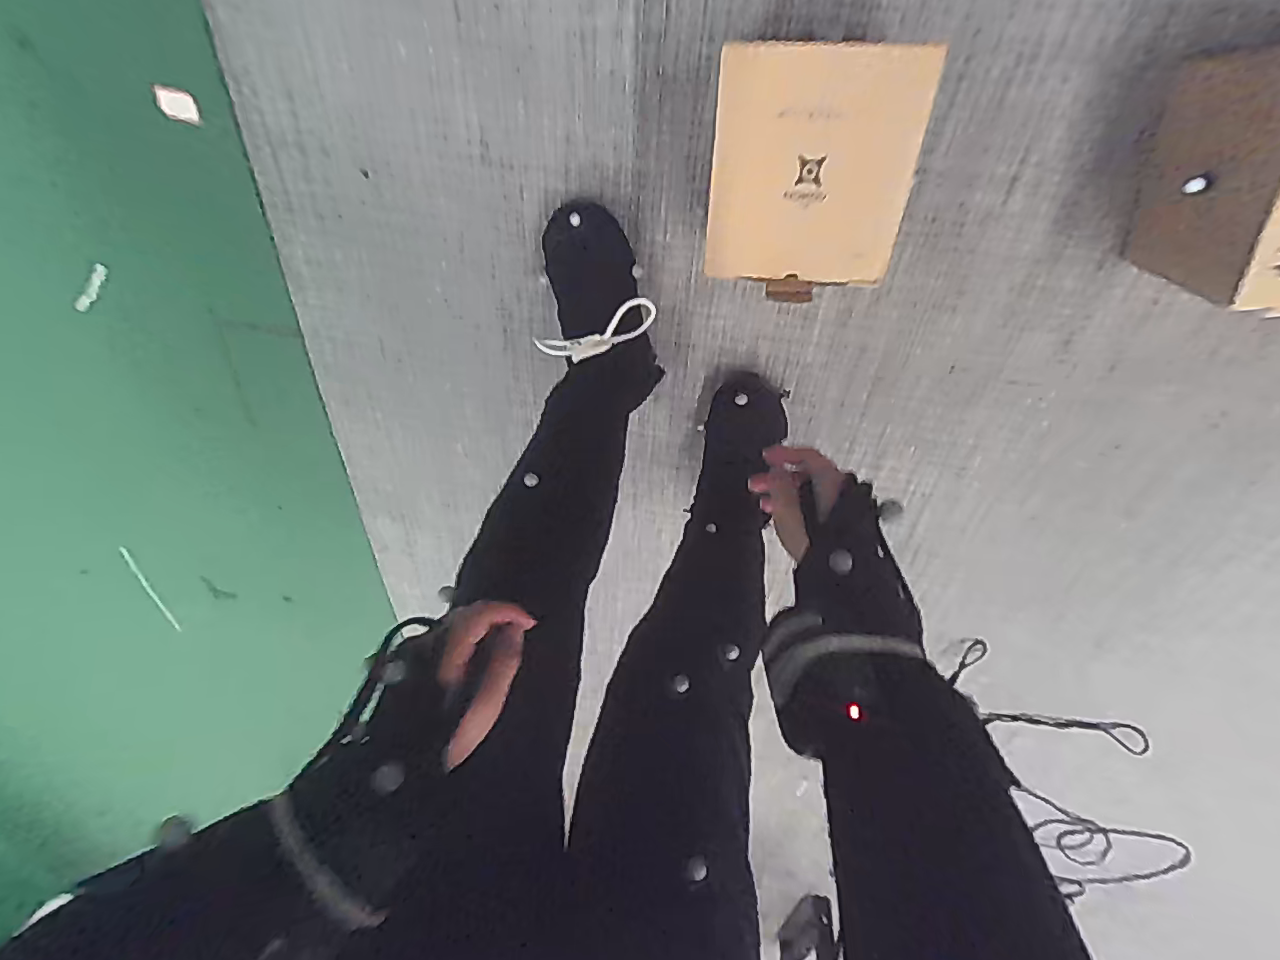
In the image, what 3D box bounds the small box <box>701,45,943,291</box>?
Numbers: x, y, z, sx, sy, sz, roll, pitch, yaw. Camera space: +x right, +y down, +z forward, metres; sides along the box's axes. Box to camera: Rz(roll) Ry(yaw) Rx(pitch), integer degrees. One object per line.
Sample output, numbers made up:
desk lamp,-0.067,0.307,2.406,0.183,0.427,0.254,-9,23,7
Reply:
small box,0.152,-0.296,0.513,0.168,0.176,0.179,5,126,6
